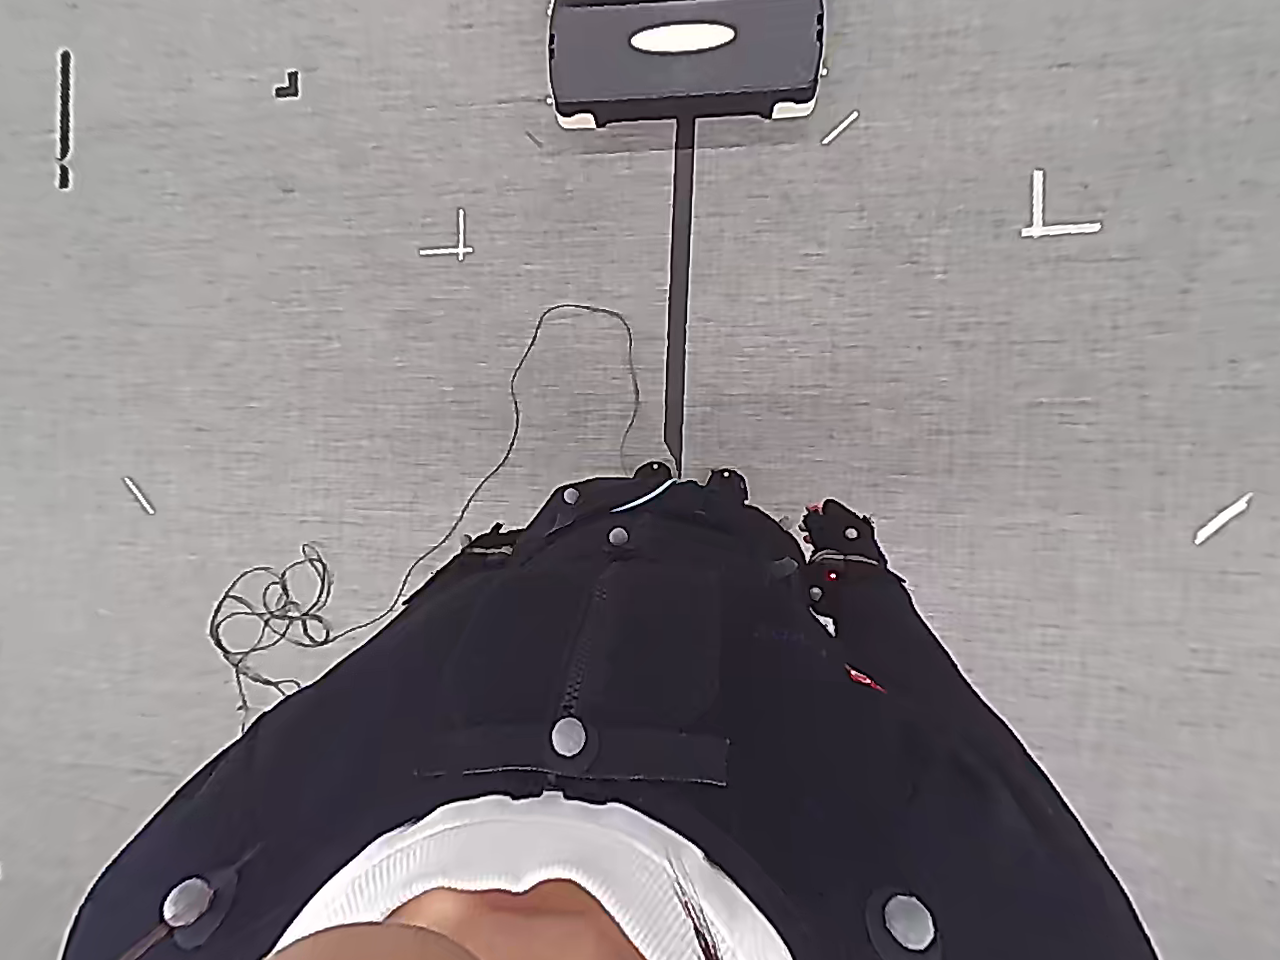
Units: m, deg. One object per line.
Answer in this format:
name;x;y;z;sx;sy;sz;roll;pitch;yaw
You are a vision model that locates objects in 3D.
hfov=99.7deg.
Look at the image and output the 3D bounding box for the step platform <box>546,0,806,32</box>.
step platform;0.084;-1.321;1.300;0.684;0.204;0.286;0;93;6
